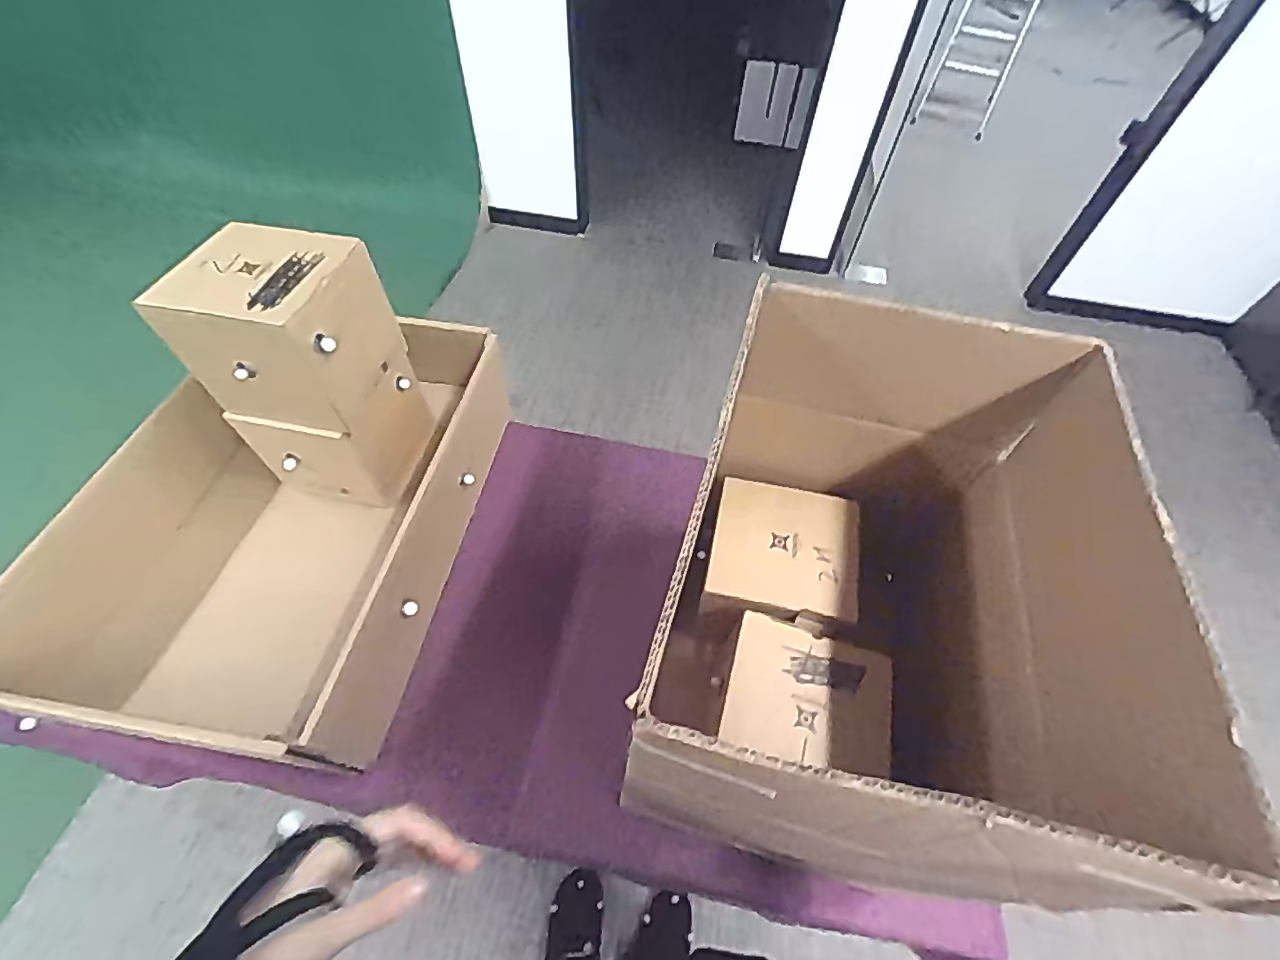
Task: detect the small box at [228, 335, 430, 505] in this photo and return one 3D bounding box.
[{"bbox_3d":[-0.436,-0.084,0.799,0.168,0.176,0.179,10,55,6],"label":"small box"}]
